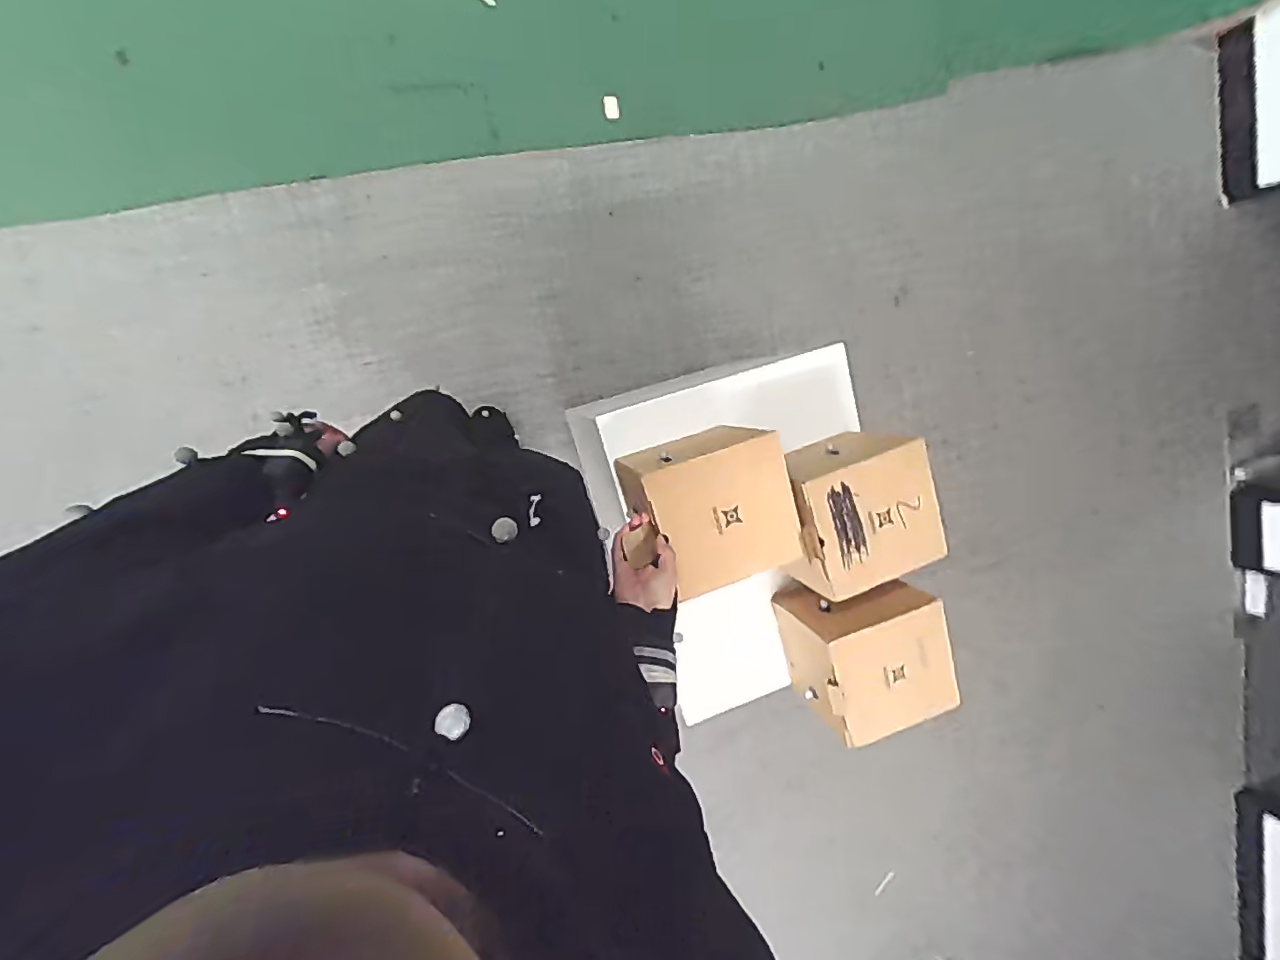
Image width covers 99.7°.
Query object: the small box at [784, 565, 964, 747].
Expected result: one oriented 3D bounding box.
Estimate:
[{"bbox_3d":[0.331,0.246,0.798,0.179,0.176,0.168,-19,102,-10],"label":"small box"}]
